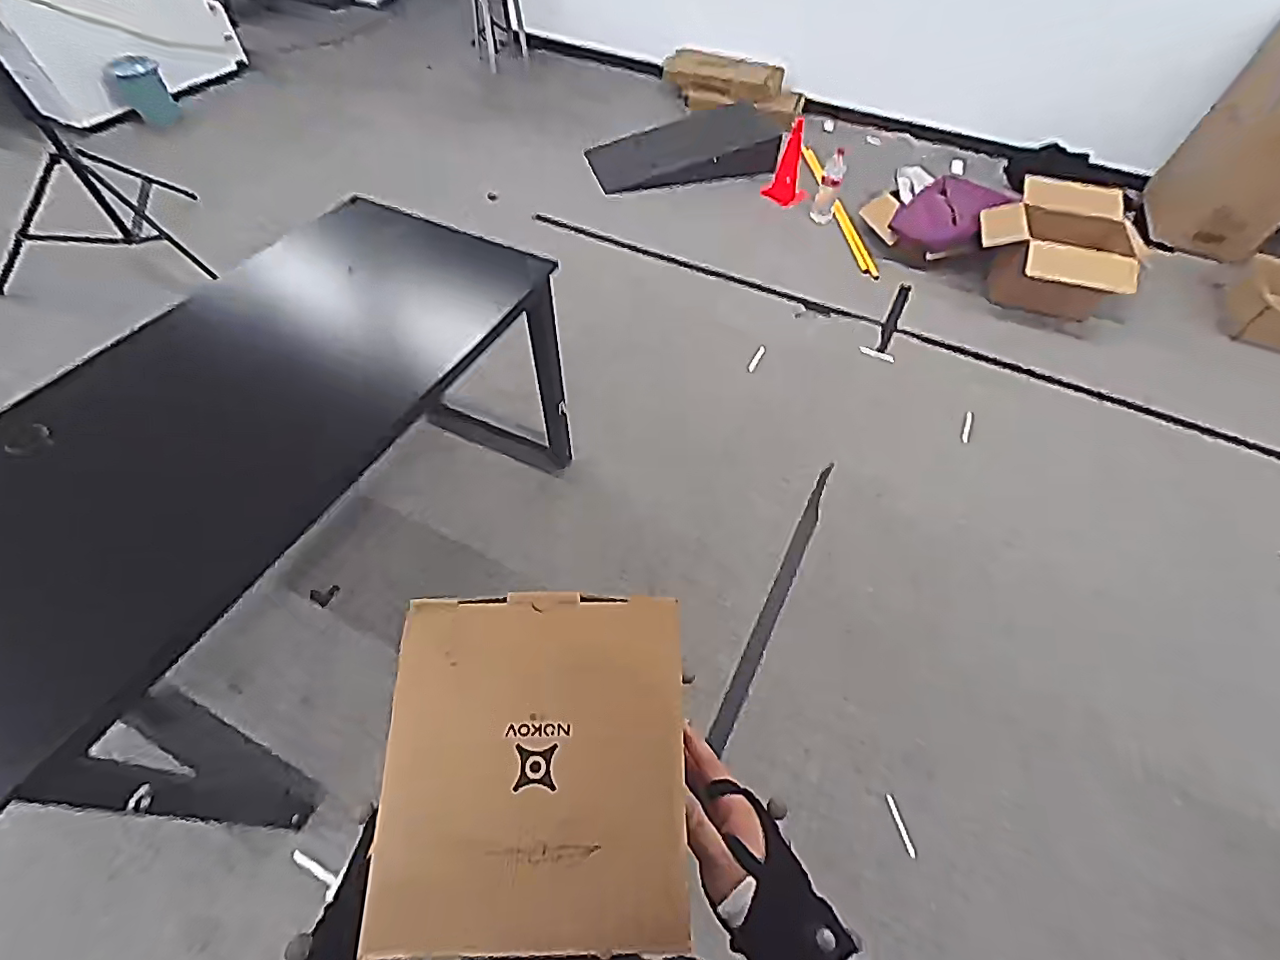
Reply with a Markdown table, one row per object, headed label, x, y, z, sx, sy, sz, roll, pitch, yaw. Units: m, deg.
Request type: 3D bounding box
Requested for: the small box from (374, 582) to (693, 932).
| label | x | y | z | sx | sy | sz | roll | pitch | yaw |
| --- | --- | --- | --- | --- | --- | --- | --- | --- | --- |
| small box | -0.057 | 0.175 | 0.380 | 0.168 | 0.176 | 0.179 | -2 | 69 | -1 |
